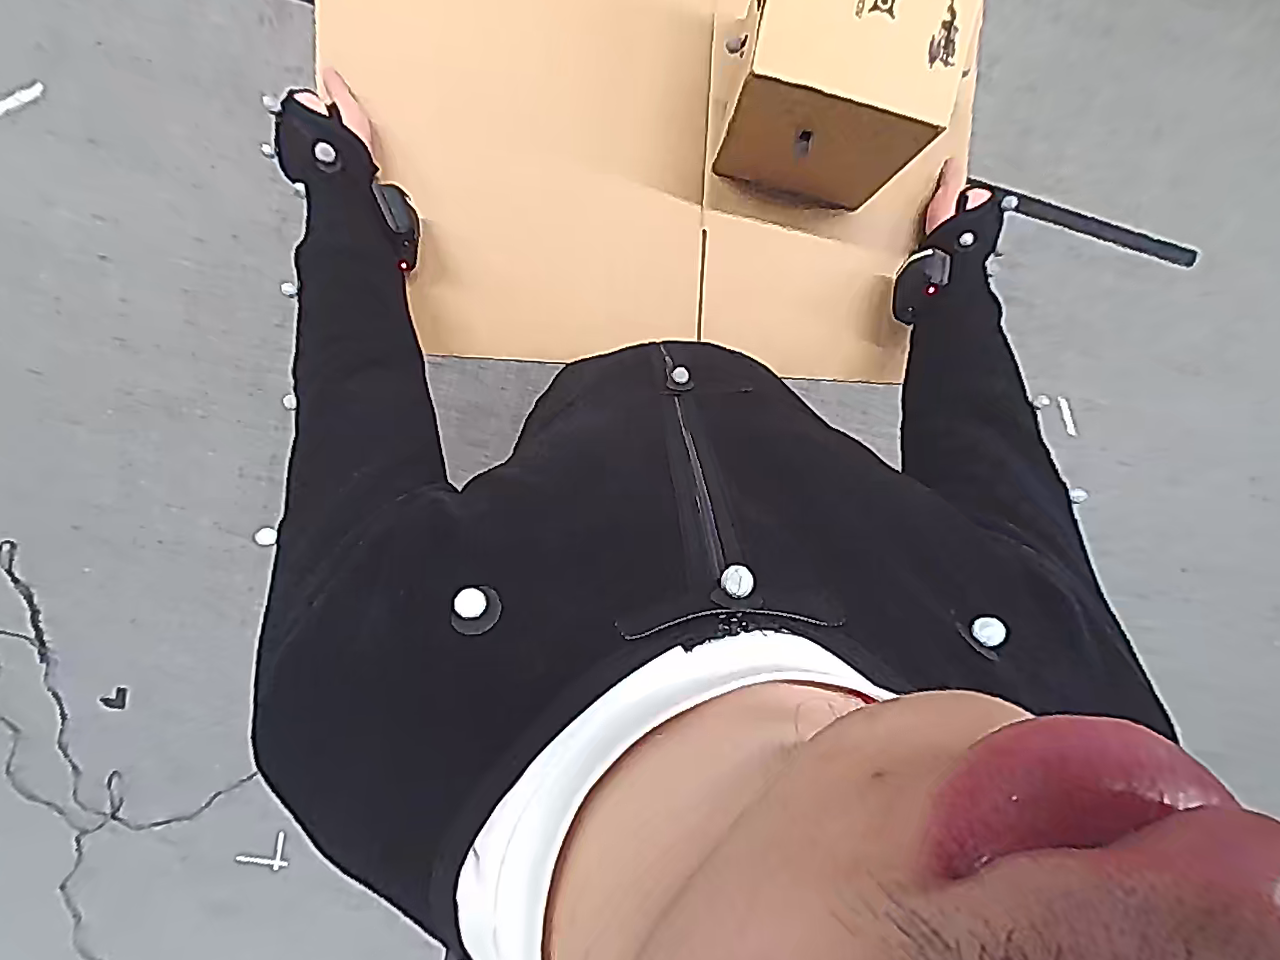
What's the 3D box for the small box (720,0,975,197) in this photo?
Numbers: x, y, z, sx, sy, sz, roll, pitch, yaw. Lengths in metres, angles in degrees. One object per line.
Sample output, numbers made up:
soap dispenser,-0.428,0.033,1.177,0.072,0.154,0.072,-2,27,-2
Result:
small box,0.187,-0.404,0.524,0.179,0.176,0.168,13,95,-3
